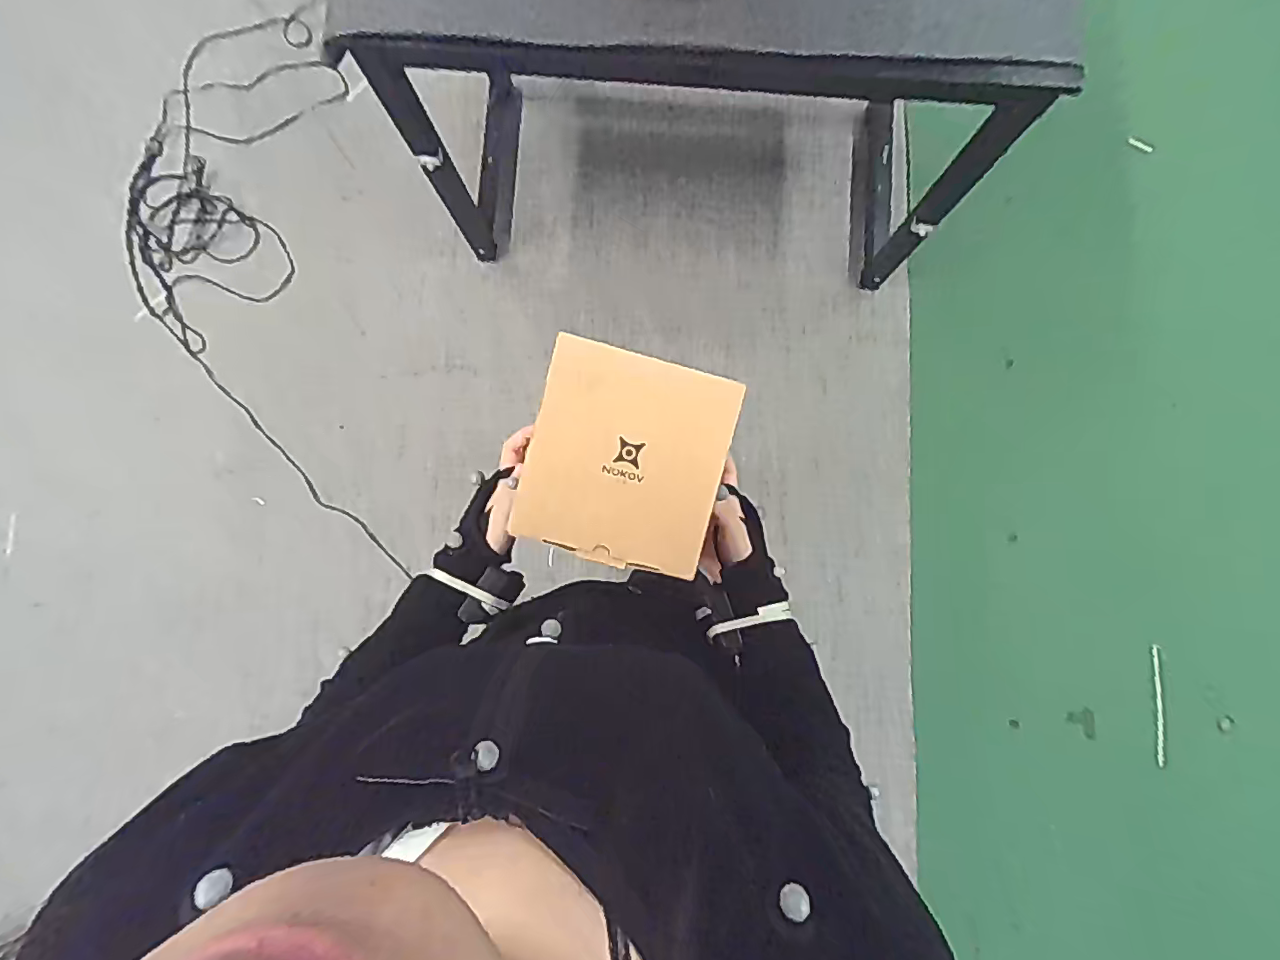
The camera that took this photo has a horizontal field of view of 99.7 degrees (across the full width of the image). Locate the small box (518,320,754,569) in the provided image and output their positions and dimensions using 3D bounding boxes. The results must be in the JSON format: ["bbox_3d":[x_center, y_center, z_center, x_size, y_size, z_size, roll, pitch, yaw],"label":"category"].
[{"bbox_3d":[-0.009,-0.032,0.528,0.168,0.176,0.179,14,93,-5],"label":"small box"}]
